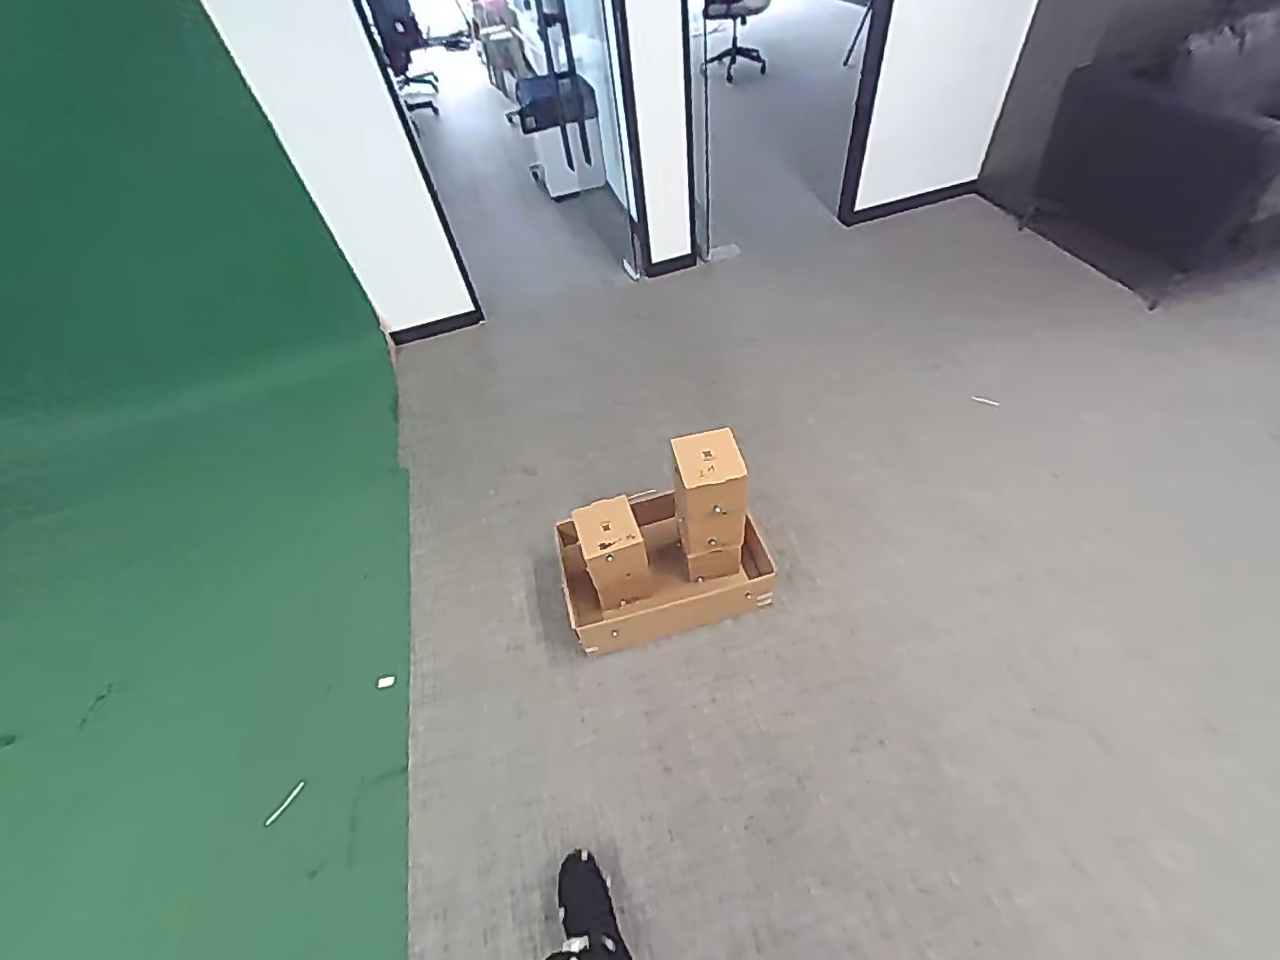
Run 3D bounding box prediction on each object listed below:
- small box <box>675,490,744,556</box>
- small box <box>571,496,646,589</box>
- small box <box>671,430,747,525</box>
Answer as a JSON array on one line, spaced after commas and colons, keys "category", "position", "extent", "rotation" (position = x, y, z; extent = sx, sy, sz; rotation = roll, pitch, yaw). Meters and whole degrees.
[{"category": "small box", "position": [0.196, 0.097, 1.589], "extent": [0.168, 0.176, 0.179], "rotation": [-12, 52, -3]}, {"category": "small box", "position": [-0.090, 0.181, 1.555], "extent": [0.168, 0.176, 0.179], "rotation": [-18, 50, -6]}, {"category": "small box", "position": [0.181, -0.005, 1.459], "extent": [0.168, 0.176, 0.179], "rotation": [-12, 52, -2]}]
